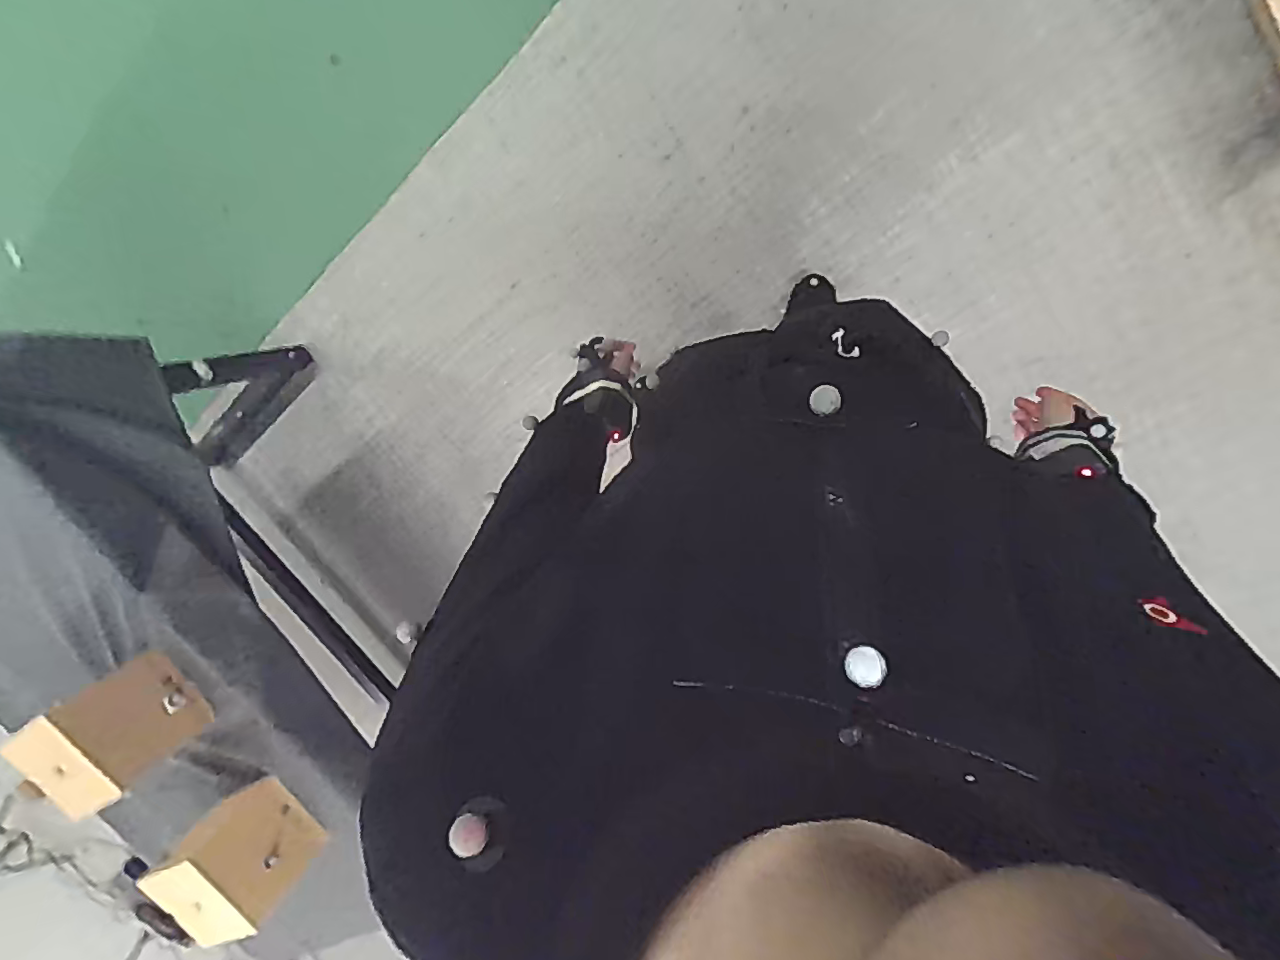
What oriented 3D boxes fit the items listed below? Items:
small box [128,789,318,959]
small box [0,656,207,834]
[{"bbox_3d":[-0.701,0.674,0.933,0.179,0.176,0.168,-31,100,21],"label":"small box"},{"bbox_3d":[-0.869,0.425,0.882,0.179,0.176,0.168,-32,101,20],"label":"small box"}]
